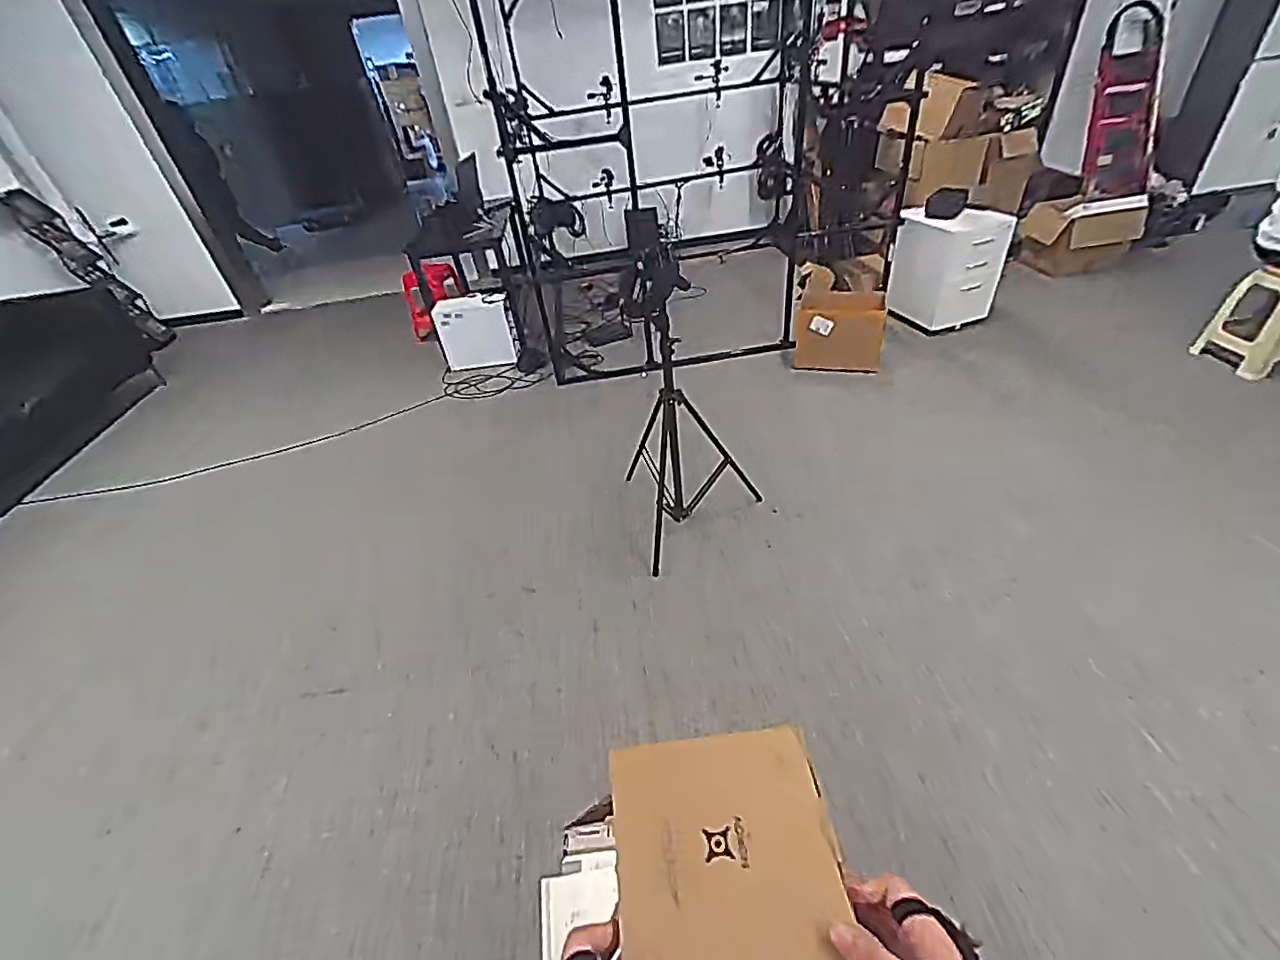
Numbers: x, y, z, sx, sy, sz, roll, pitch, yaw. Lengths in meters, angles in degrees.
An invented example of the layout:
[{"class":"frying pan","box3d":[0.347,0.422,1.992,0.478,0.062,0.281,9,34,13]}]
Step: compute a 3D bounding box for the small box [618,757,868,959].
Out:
[{"class":"small box","box3d":[0.082,0.372,0.487,0.179,0.176,0.168,-9,45,1]}]
